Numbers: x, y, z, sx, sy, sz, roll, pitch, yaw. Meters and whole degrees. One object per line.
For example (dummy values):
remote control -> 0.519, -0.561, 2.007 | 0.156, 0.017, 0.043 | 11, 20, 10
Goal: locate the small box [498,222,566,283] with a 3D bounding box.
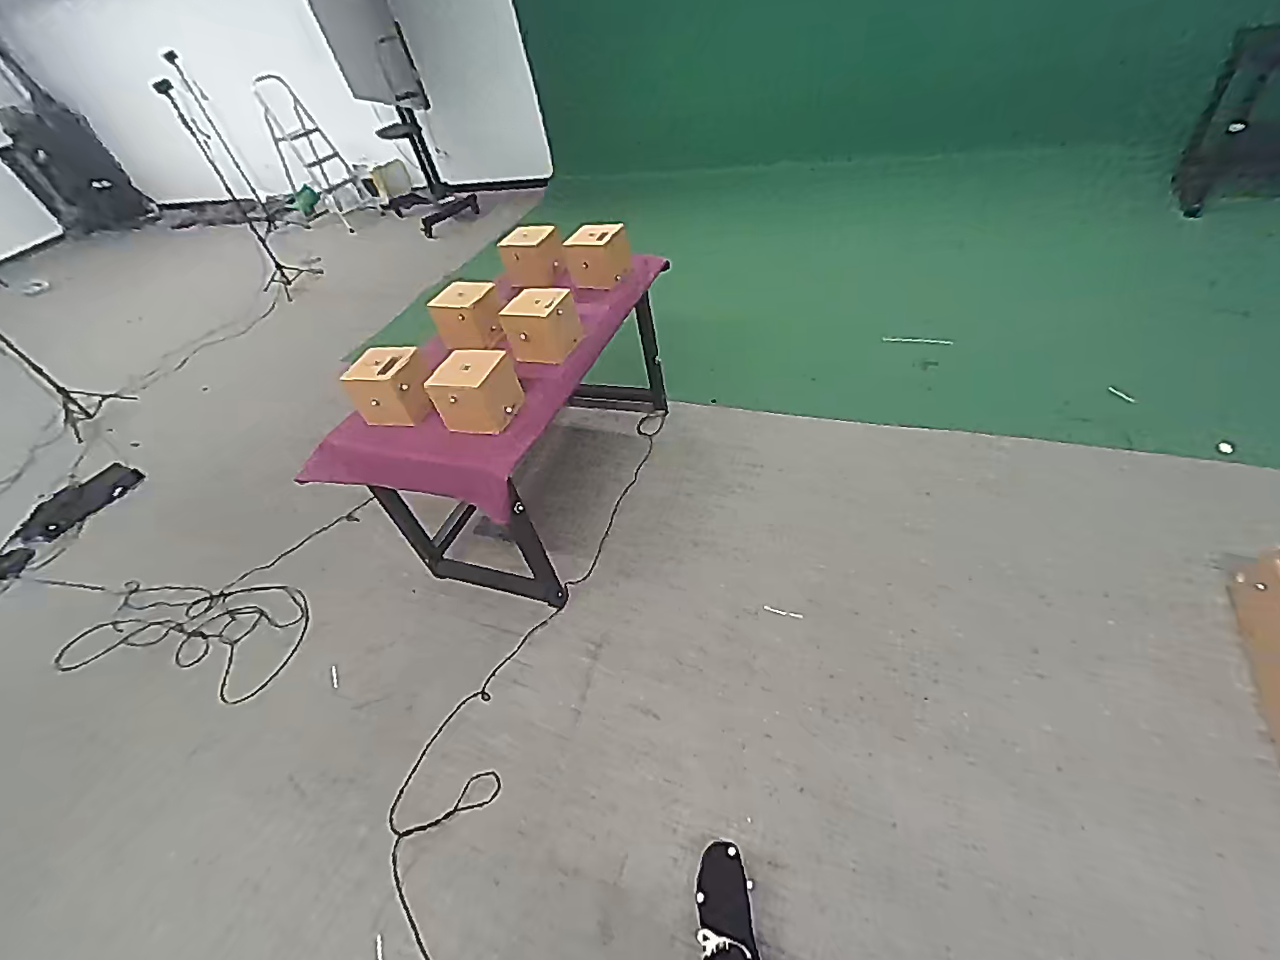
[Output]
small box -> -0.412, -0.881, 2.097 | 0.179, 0.176, 0.168 | 11, 51, 21

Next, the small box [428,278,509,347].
small box -> -0.572, -0.567, 1.833 | 0.179, 0.176, 0.168 | 10, 49, 20

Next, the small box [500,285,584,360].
small box -> -0.301, -0.493, 1.694 | 0.179, 0.176, 0.168 | 10, 50, 24

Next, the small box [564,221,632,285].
small box -> -0.147, -0.831, 1.986 | 0.179, 0.176, 0.168 | 12, 51, 25
